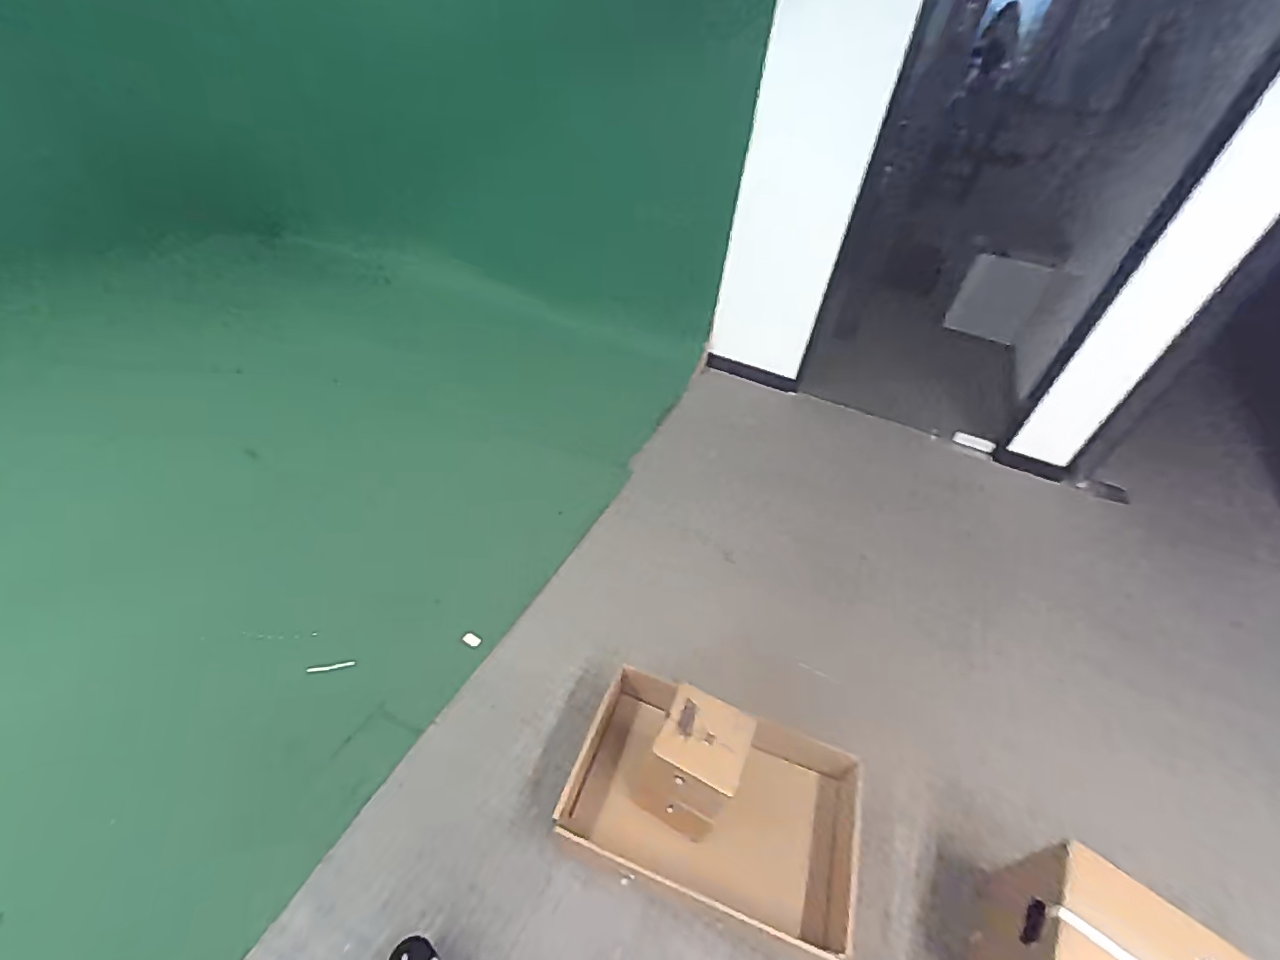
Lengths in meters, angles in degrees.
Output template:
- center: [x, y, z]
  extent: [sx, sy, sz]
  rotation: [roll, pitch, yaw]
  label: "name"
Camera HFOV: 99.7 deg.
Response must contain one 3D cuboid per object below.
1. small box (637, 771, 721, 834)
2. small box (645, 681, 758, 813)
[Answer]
- center: [0.109, 0.689, 1.261]
  extent: [0.179, 0.176, 0.168]
  rotation: [25, 47, 14]
  label: "small box"
- center: [0.125, 0.570, 1.149]
  extent: [0.179, 0.176, 0.168]
  rotation: [24, 47, 14]
  label: "small box"
